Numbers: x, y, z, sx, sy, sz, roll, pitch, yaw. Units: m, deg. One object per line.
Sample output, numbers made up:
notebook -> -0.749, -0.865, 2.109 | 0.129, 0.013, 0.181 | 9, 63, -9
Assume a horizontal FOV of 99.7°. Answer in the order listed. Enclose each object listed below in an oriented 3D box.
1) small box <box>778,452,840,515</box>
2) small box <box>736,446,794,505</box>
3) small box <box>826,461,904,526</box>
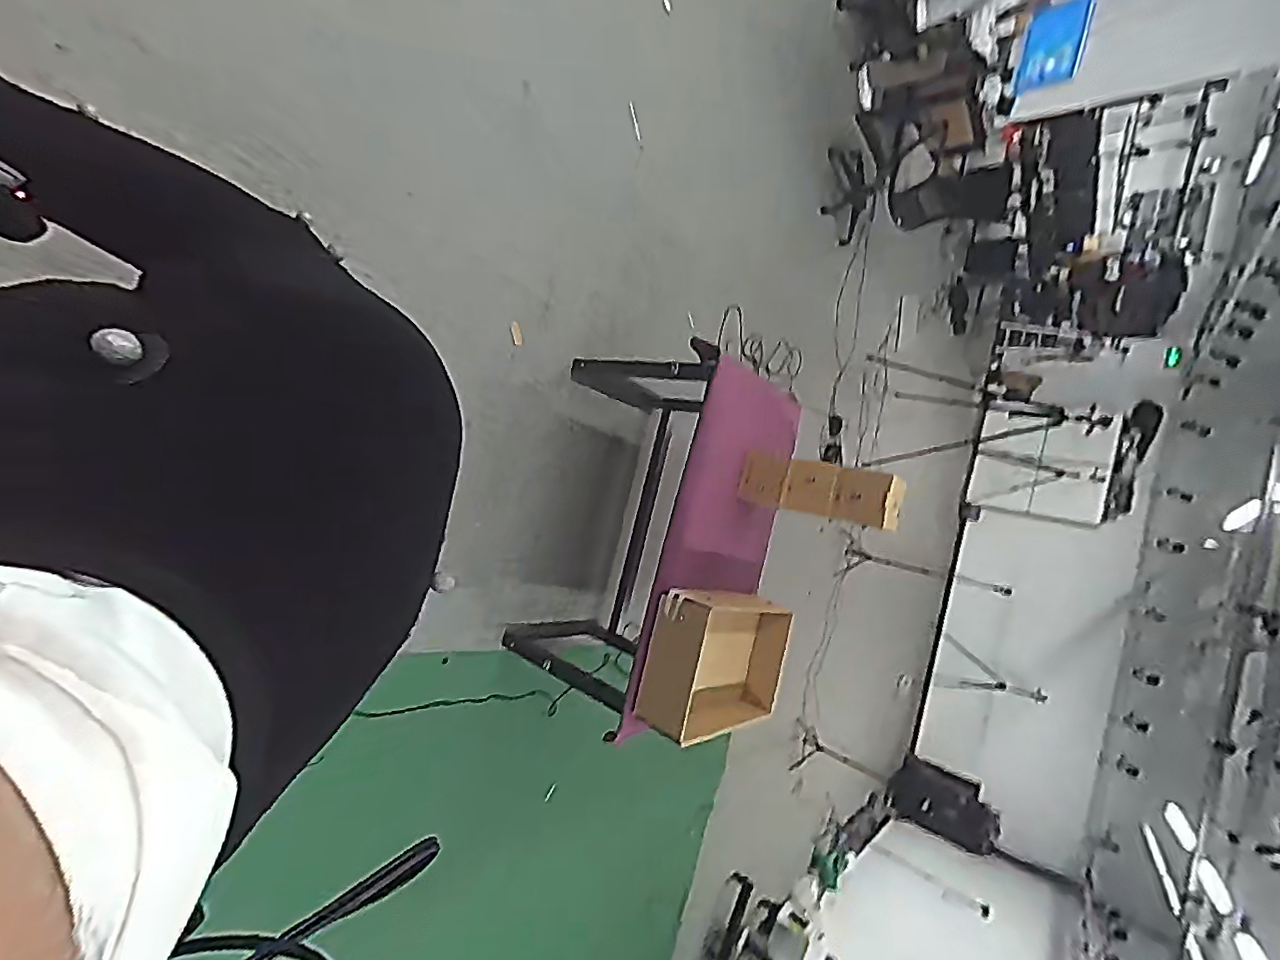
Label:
small box -> 0.583, 0.010, 1.811 | 0.179, 0.176, 0.168 | 17, 88, -51
small box -> 0.463, -0.017, 1.916 | 0.179, 0.176, 0.168 | 17, 87, -51
small box -> 0.709, 0.041, 1.711 | 0.179, 0.176, 0.168 | 16, 89, -50
